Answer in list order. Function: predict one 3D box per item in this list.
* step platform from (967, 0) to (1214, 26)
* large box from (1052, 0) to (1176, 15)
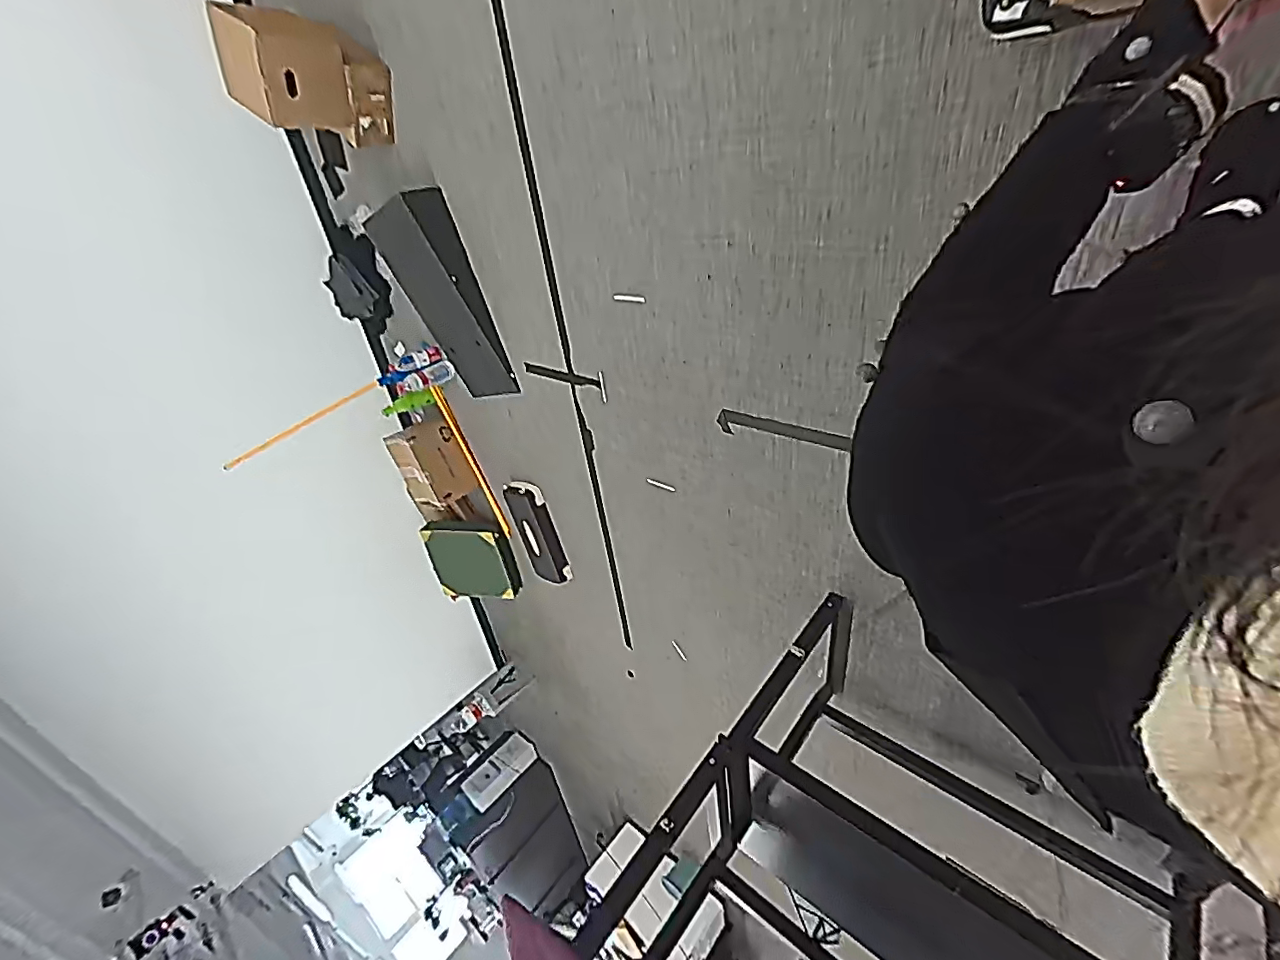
[{"bbox_3d":[0.847,-0.828,0.729,0.684,0.204,0.286,26,135,34],"label":"step platform"},{"bbox_3d":[0.729,-0.718,0.545,0.408,0.320,0.320,21,131,38],"label":"large box"}]
